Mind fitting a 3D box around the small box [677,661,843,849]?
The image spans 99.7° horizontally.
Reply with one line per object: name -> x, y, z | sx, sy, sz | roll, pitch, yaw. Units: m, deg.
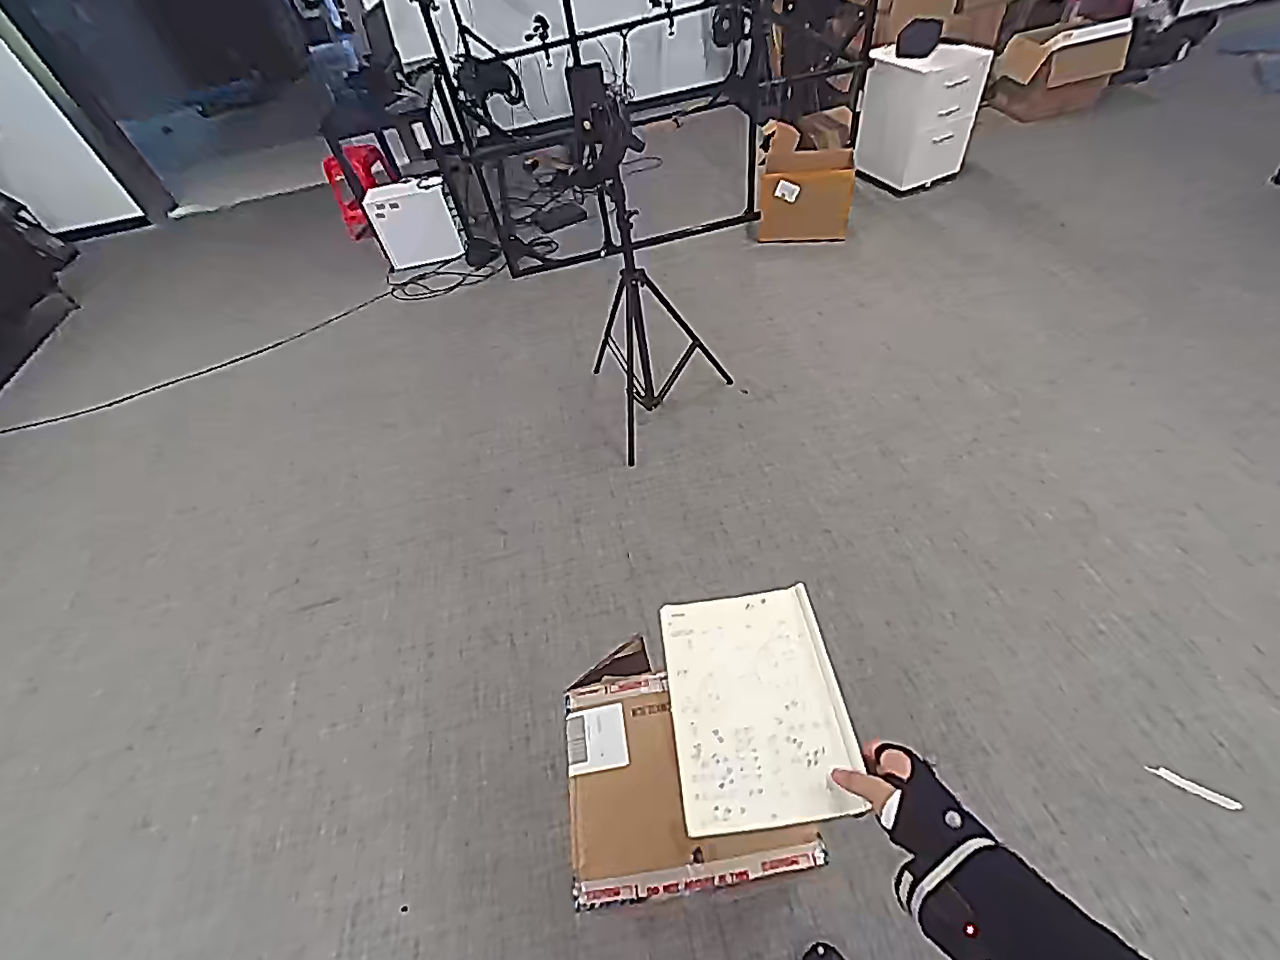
small box -> 0.139, 0.357, 0.699 | 0.168, 0.176, 0.179 | -8, 51, 1
